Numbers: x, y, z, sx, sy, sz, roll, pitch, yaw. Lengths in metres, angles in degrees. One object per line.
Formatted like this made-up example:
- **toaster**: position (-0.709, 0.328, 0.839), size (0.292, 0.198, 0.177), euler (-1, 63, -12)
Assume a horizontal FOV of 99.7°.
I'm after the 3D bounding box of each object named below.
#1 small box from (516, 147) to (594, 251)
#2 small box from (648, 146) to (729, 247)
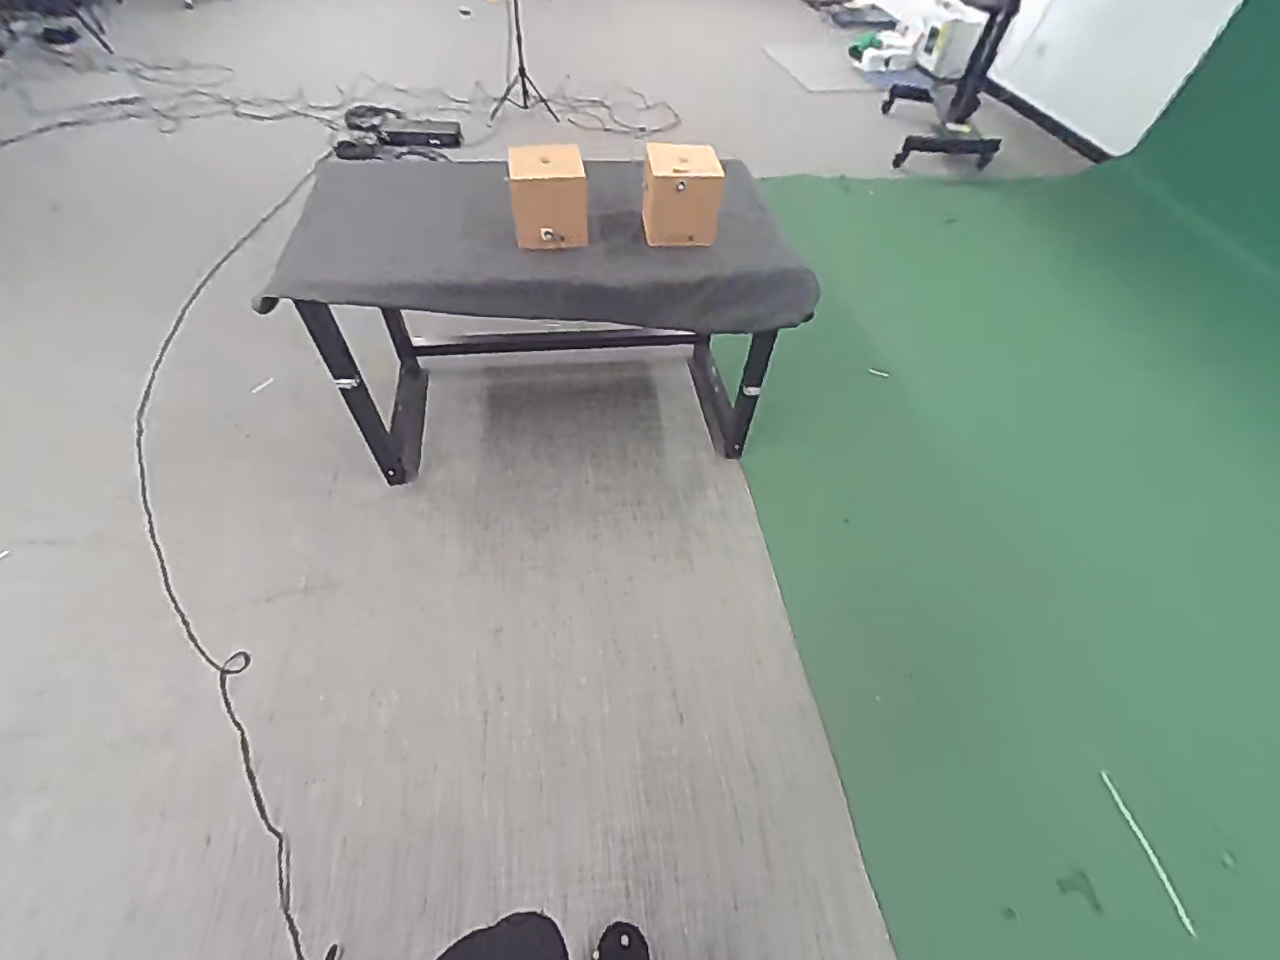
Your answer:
- **small box**: position (-0.202, -0.671, 1.292), size (0.168, 0.176, 0.179), euler (-7, 53, -7)
- **small box**: position (0.111, -0.694, 1.327), size (0.168, 0.176, 0.179), euler (-3, 52, -5)
